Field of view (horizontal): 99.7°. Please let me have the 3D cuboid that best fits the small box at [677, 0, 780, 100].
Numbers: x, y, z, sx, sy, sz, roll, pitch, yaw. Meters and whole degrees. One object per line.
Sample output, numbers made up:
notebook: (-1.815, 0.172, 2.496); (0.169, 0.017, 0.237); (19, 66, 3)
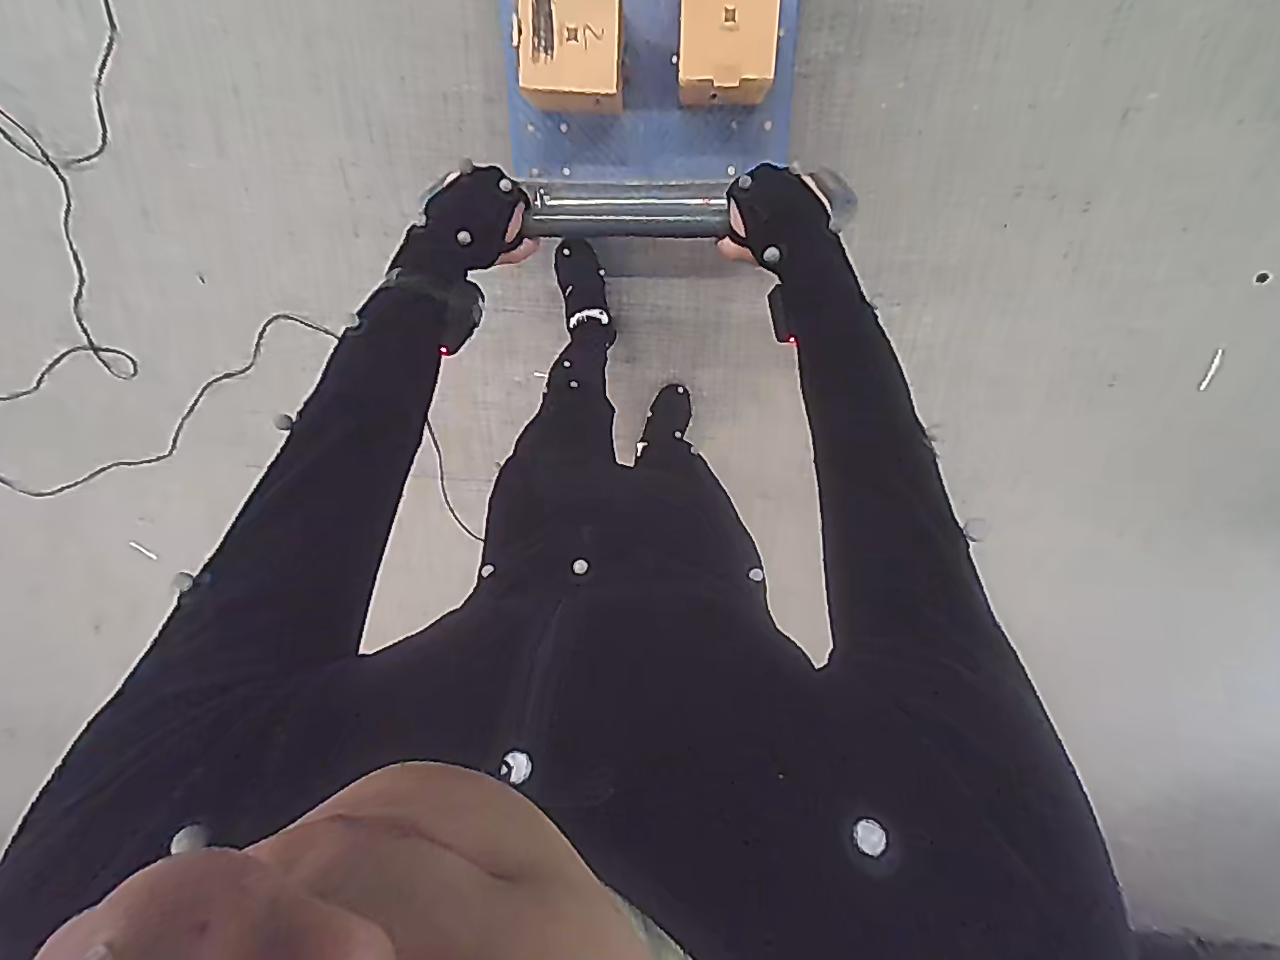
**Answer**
small box: (0.154, -0.815, 0.981); (0.168, 0.176, 0.179); (1, 114, 2)
